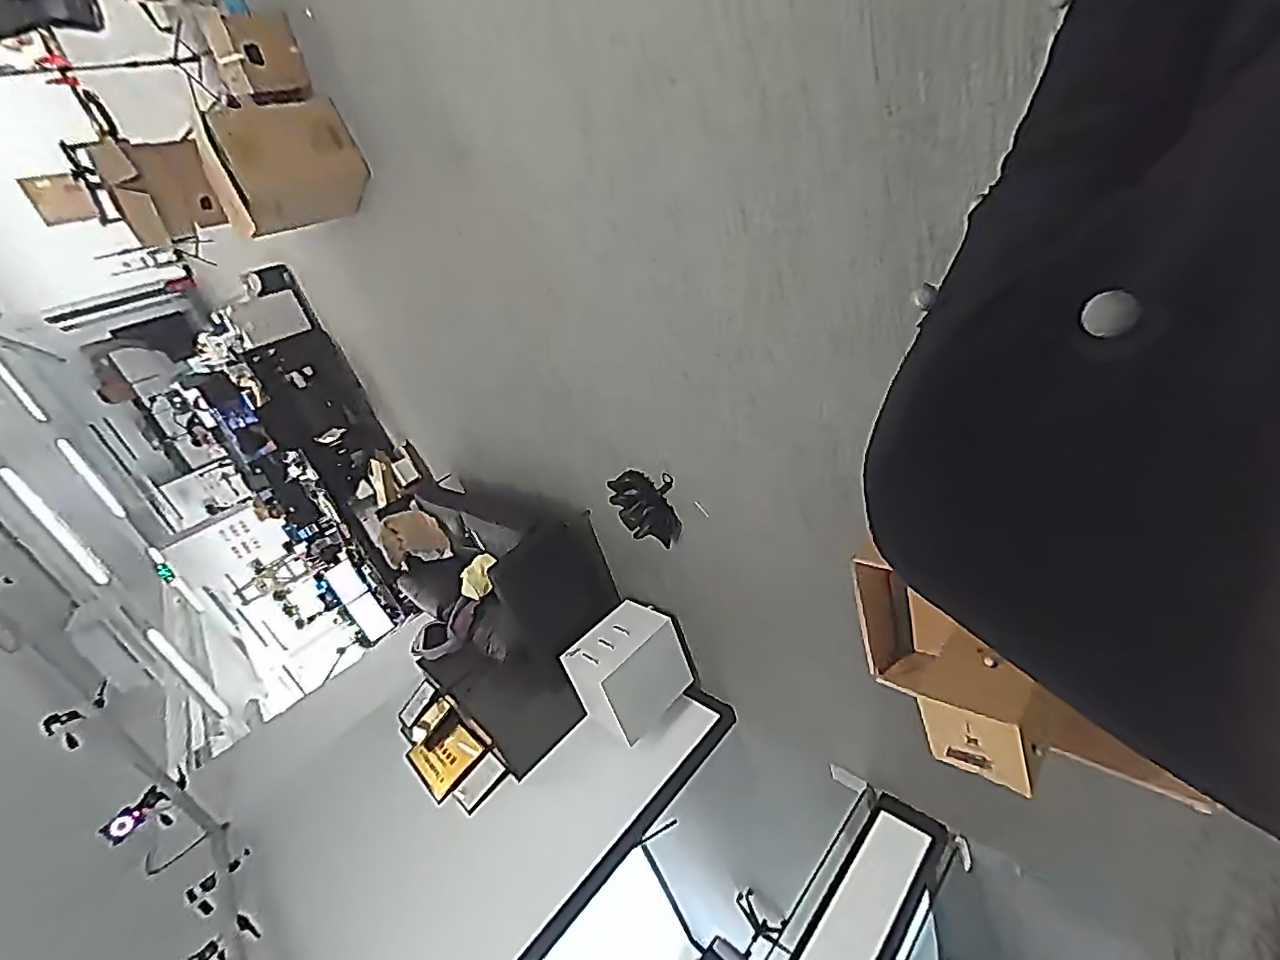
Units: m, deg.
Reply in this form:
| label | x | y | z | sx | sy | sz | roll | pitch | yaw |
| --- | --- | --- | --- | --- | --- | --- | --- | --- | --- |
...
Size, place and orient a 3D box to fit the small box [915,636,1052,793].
| label | x | y | z | sx | sy | sz | roll | pitch | yaw |
| --- | --- | --- | --- | --- | --- | --- | --- | --- | --- |
| small box | 0.649 | 0.428 | 1.016 | 0.168 | 0.176 | 0.179 | 3 | 122 | 50 |
